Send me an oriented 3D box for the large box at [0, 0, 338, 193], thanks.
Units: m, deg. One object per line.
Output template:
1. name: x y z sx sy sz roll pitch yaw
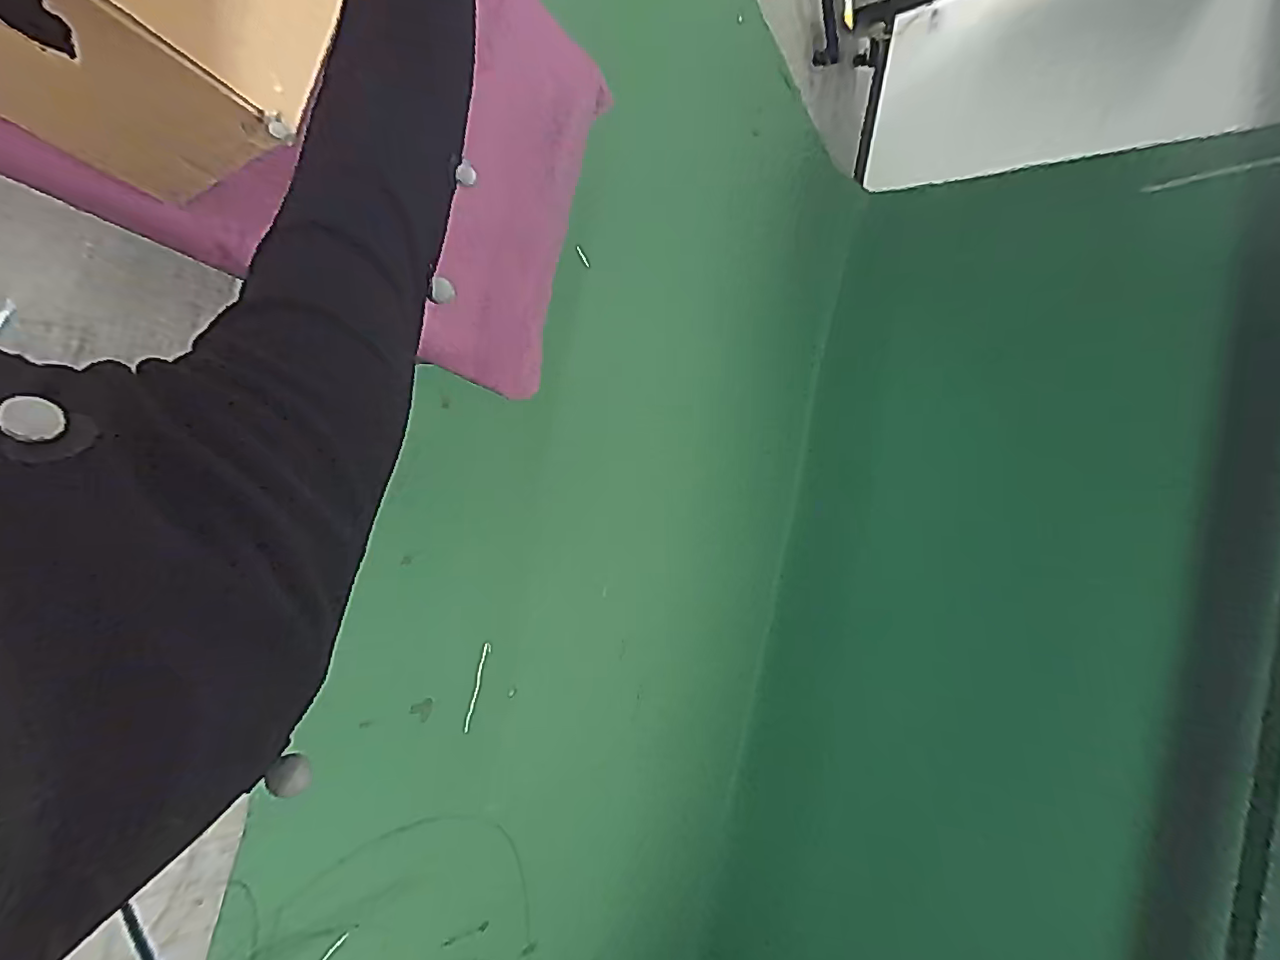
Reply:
1. large box: -0.430 -0.515 0.409 0.320 0.320 0.408 23 80 -52
